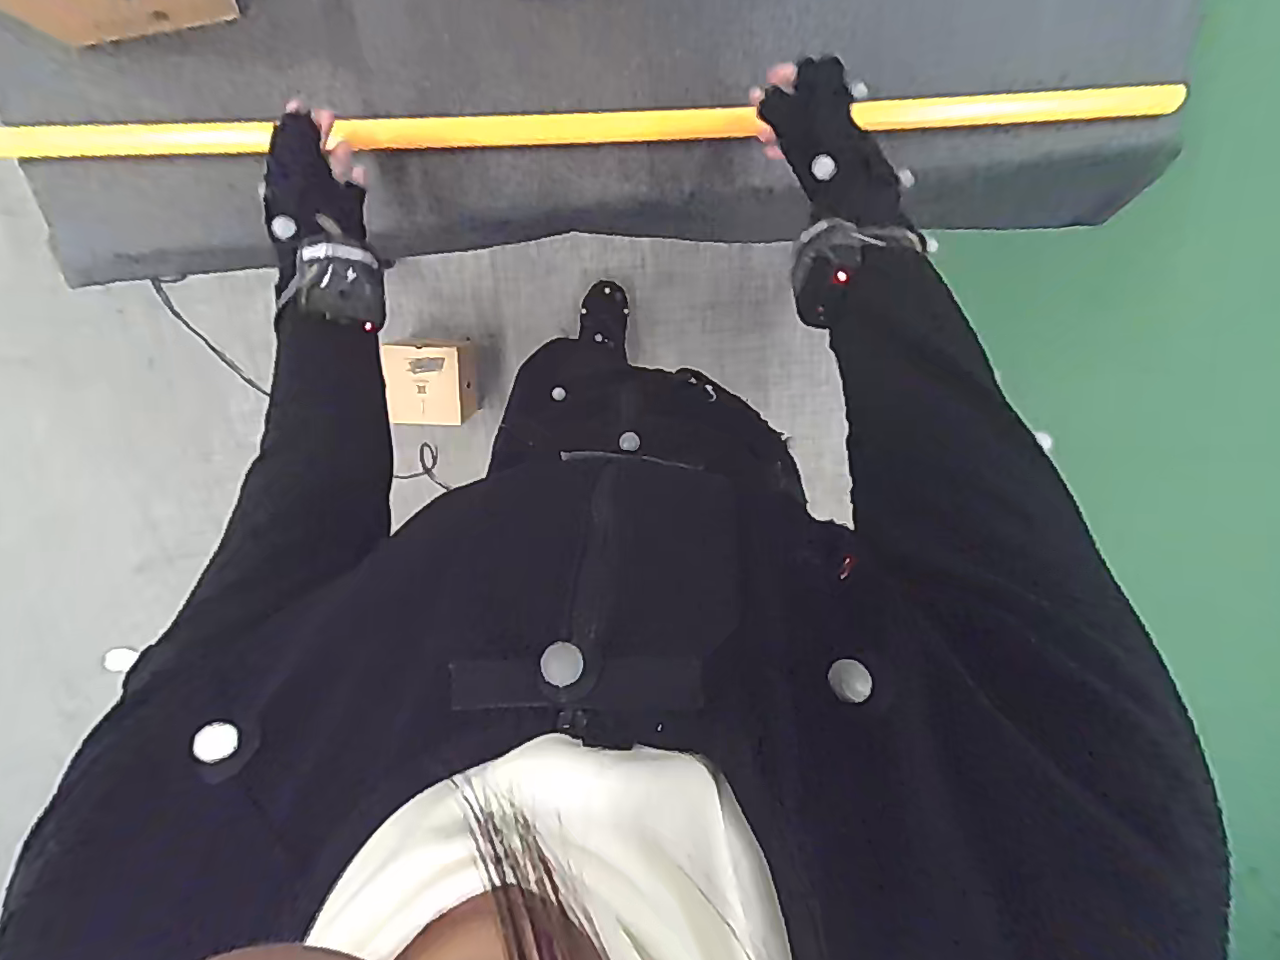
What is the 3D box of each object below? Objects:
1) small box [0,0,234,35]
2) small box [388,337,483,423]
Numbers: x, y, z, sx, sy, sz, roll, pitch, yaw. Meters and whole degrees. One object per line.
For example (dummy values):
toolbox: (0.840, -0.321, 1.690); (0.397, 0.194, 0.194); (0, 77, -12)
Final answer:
small box: (-0.469, -0.487, 0.418); (0.168, 0.176, 0.179); (-11, 107, -1)
small box: (-0.471, -0.240, 1.271); (0.168, 0.176, 0.179); (2, 109, -3)
